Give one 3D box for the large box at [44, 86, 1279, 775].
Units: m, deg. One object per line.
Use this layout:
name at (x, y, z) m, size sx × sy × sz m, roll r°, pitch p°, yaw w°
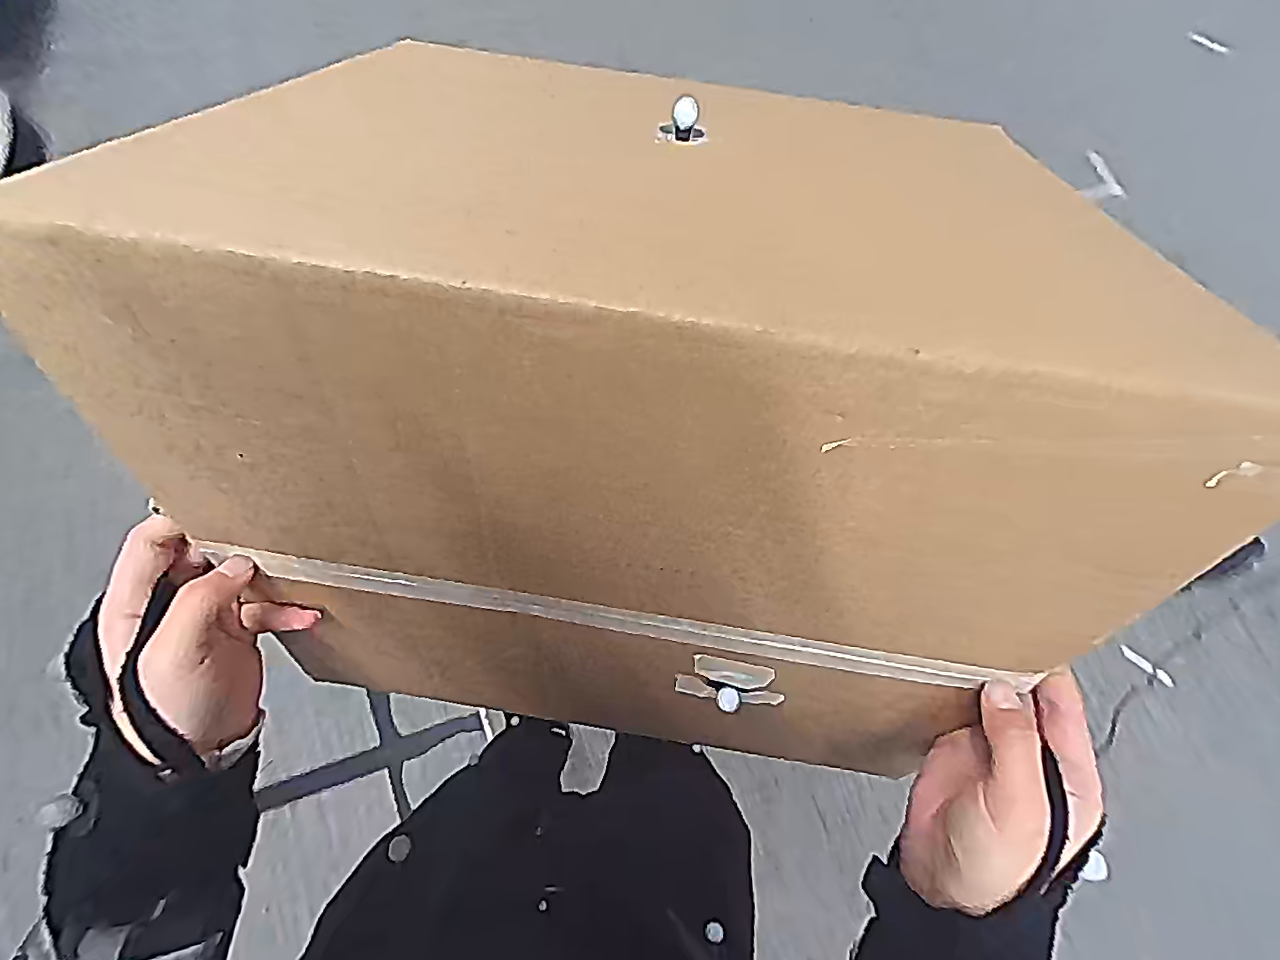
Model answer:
large box at (0.011, -0.040, 0.371) m, size 0.408 × 0.320 × 0.320 m, roll 9°, pitch 47°, yaw 2°
